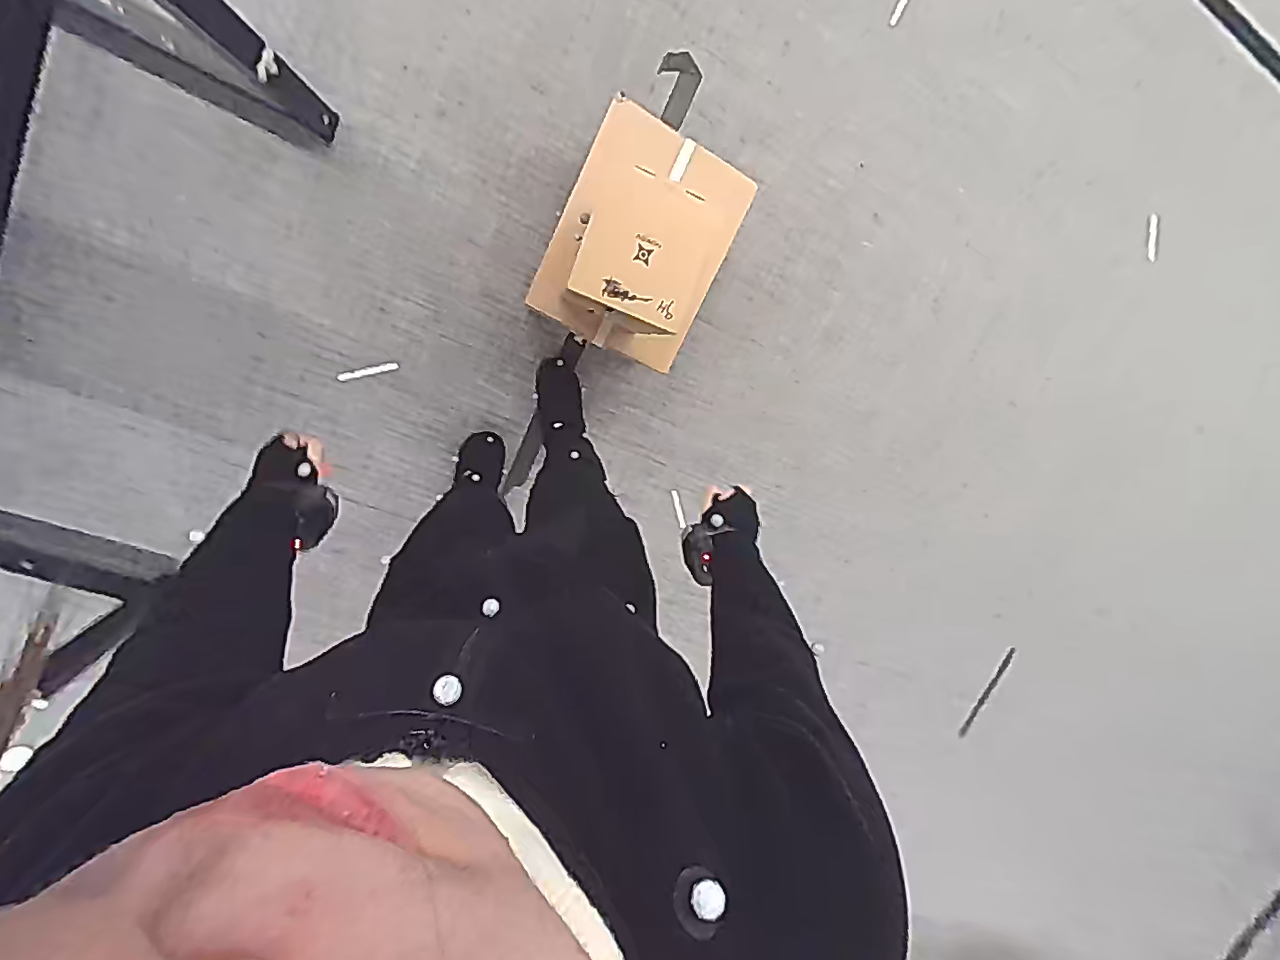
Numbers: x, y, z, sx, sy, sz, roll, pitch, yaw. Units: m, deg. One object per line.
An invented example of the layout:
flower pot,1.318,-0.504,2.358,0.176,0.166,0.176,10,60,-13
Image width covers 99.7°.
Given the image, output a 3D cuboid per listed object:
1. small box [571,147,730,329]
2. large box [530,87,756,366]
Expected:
small box,0.002,-0.333,0.784,0.168,0.176,0.179,19,101,-13
large box,-0.021,-0.498,1.164,0.320,0.320,0.408,23,100,-17
